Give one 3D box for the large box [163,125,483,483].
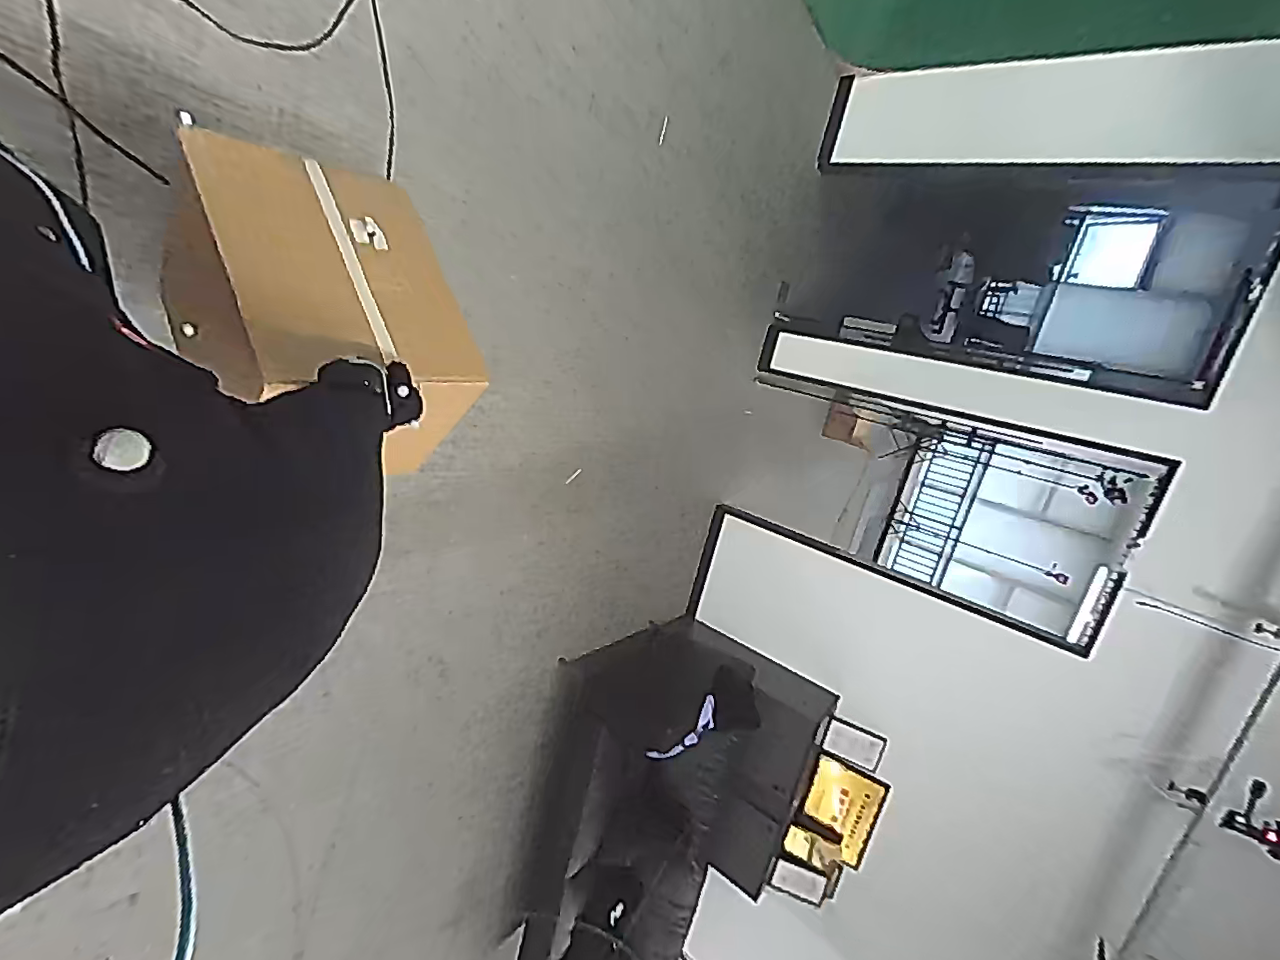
[{"bbox_3d":[-0.526,-0.254,0.886,0.320,0.408,0.320,-34,166,38],"label":"large box"}]
